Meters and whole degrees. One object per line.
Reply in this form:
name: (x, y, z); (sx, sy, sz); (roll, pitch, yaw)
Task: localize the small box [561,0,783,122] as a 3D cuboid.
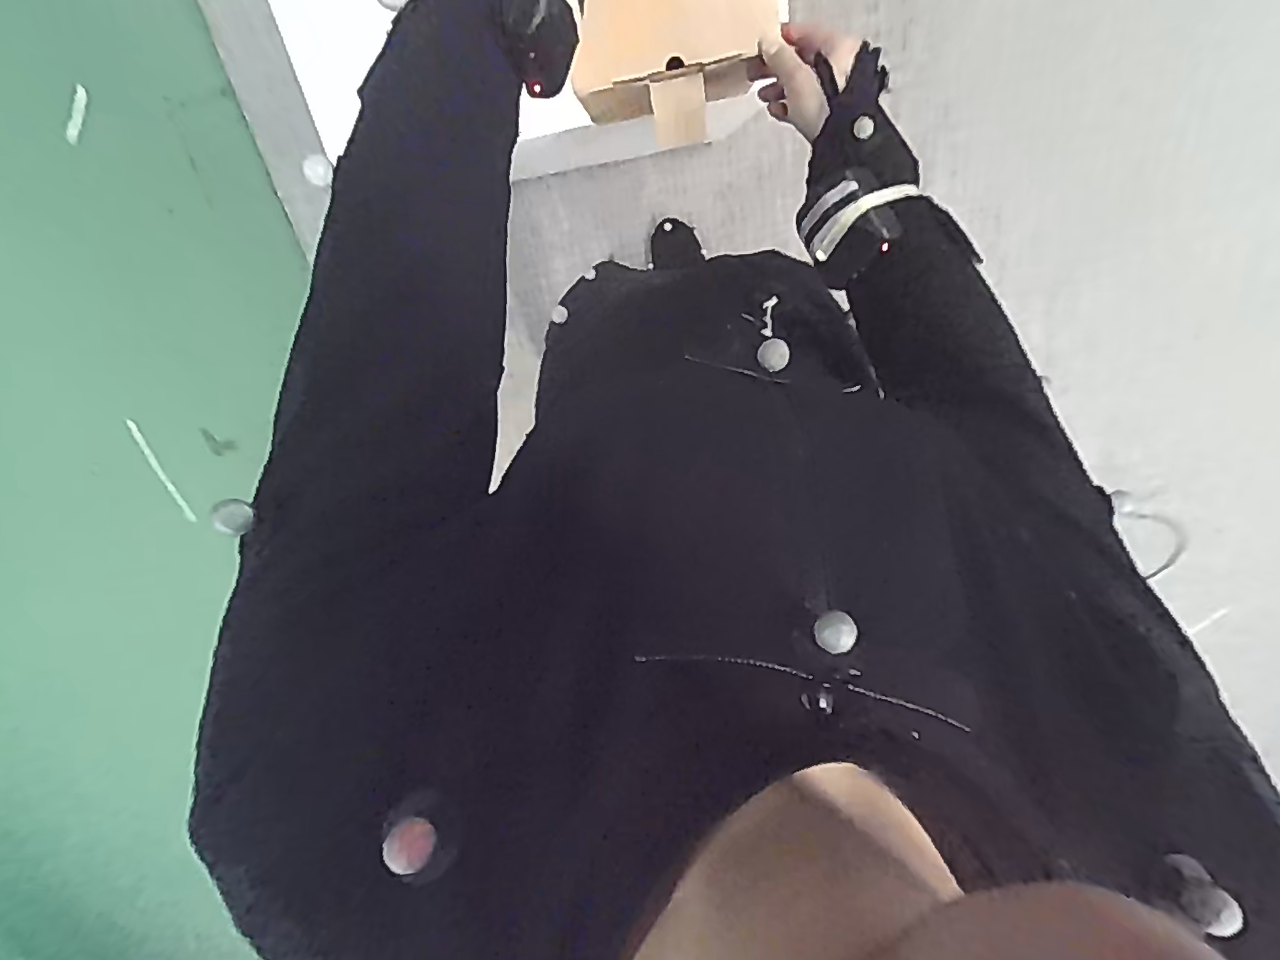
small box: (0.016, -0.429, 0.455); (0.168, 0.176, 0.179); (-9, 116, 6)
